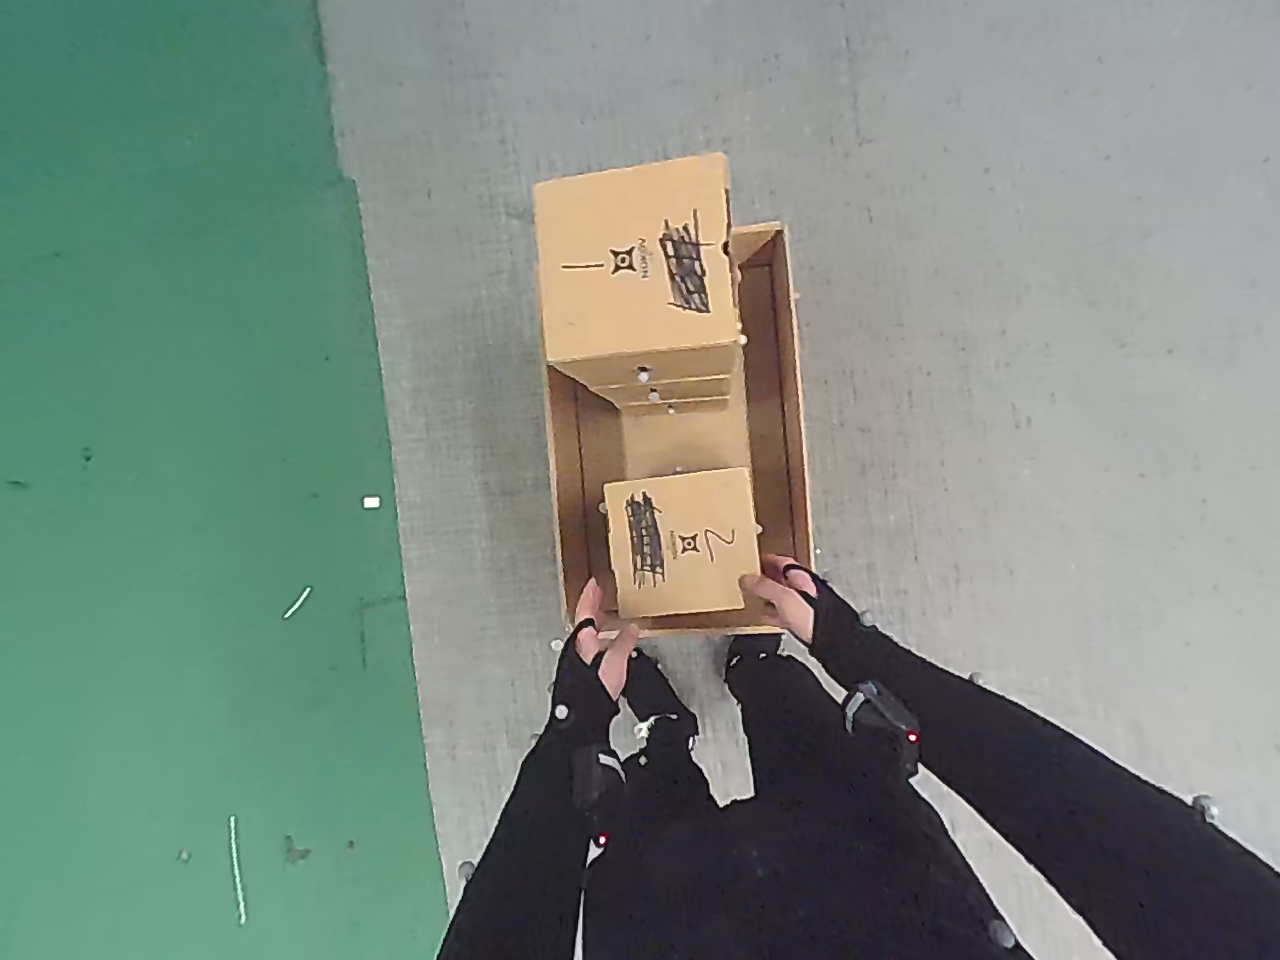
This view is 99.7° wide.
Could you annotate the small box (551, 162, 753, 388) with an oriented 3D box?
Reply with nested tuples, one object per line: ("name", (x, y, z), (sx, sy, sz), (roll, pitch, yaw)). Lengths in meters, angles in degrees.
("small box", (0.019, -0.193, 0.560), (0.179, 0.176, 0.168), (-3, 90, 9))

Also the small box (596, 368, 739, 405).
("small box", (0.042, -0.194, 0.723), (0.179, 0.176, 0.168), (-2, 91, 9))

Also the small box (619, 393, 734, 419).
("small box", (0.064, -0.192, 0.886), (0.179, 0.176, 0.168), (-1, 91, 7))

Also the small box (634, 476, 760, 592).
("small box", (0.093, 0.080, 0.877), (0.179, 0.176, 0.168), (-5, 88, 8))
